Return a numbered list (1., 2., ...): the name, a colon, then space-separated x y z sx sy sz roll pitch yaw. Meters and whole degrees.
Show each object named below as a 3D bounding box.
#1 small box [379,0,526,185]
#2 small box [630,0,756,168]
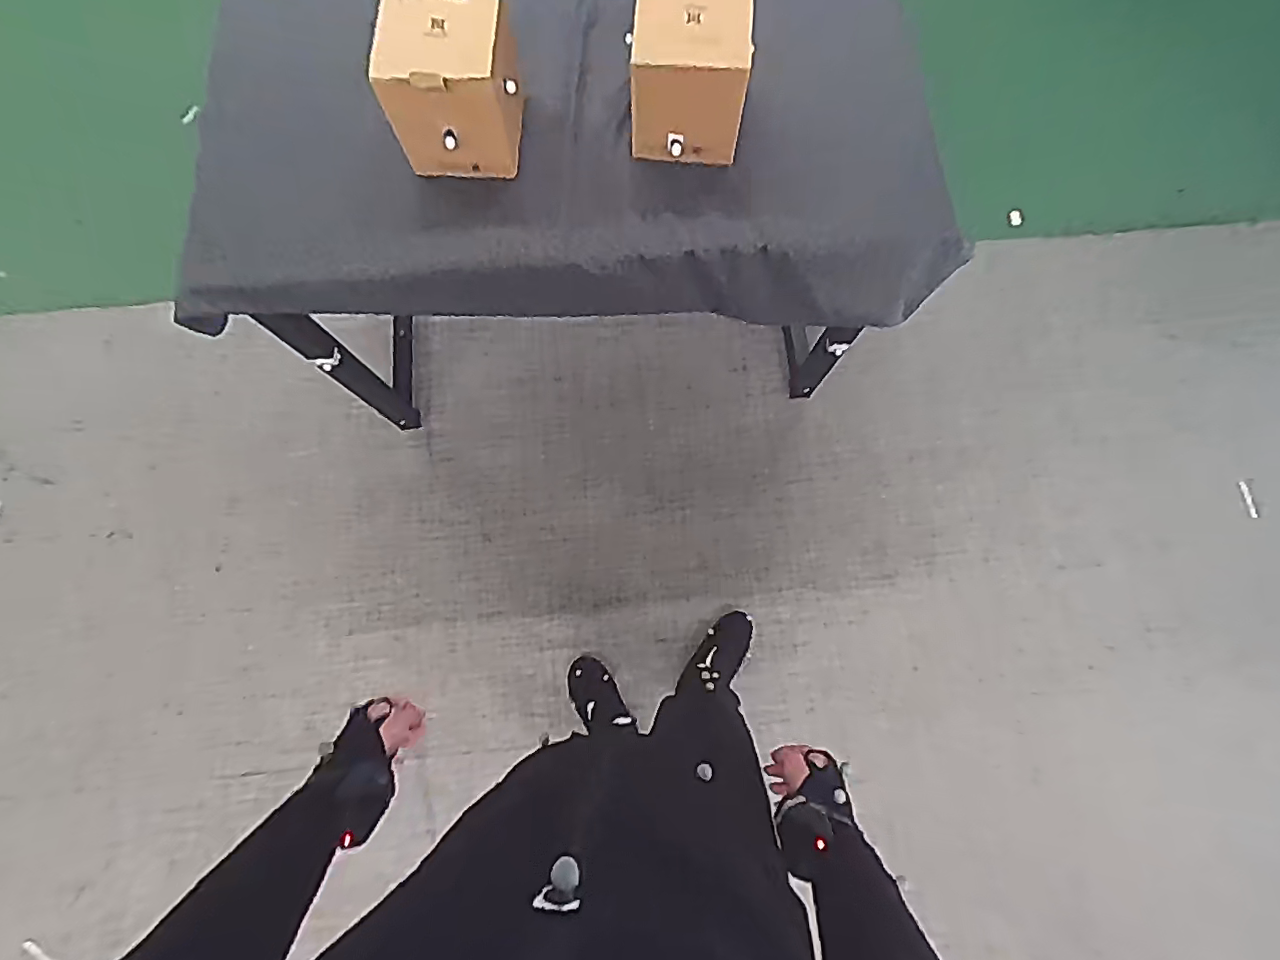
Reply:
1. small box: -0.275 -0.582 0.832 0.168 0.176 0.179 -2 75 1
2. small box: 0.077 -0.616 0.821 0.168 0.176 0.179 5 76 3
